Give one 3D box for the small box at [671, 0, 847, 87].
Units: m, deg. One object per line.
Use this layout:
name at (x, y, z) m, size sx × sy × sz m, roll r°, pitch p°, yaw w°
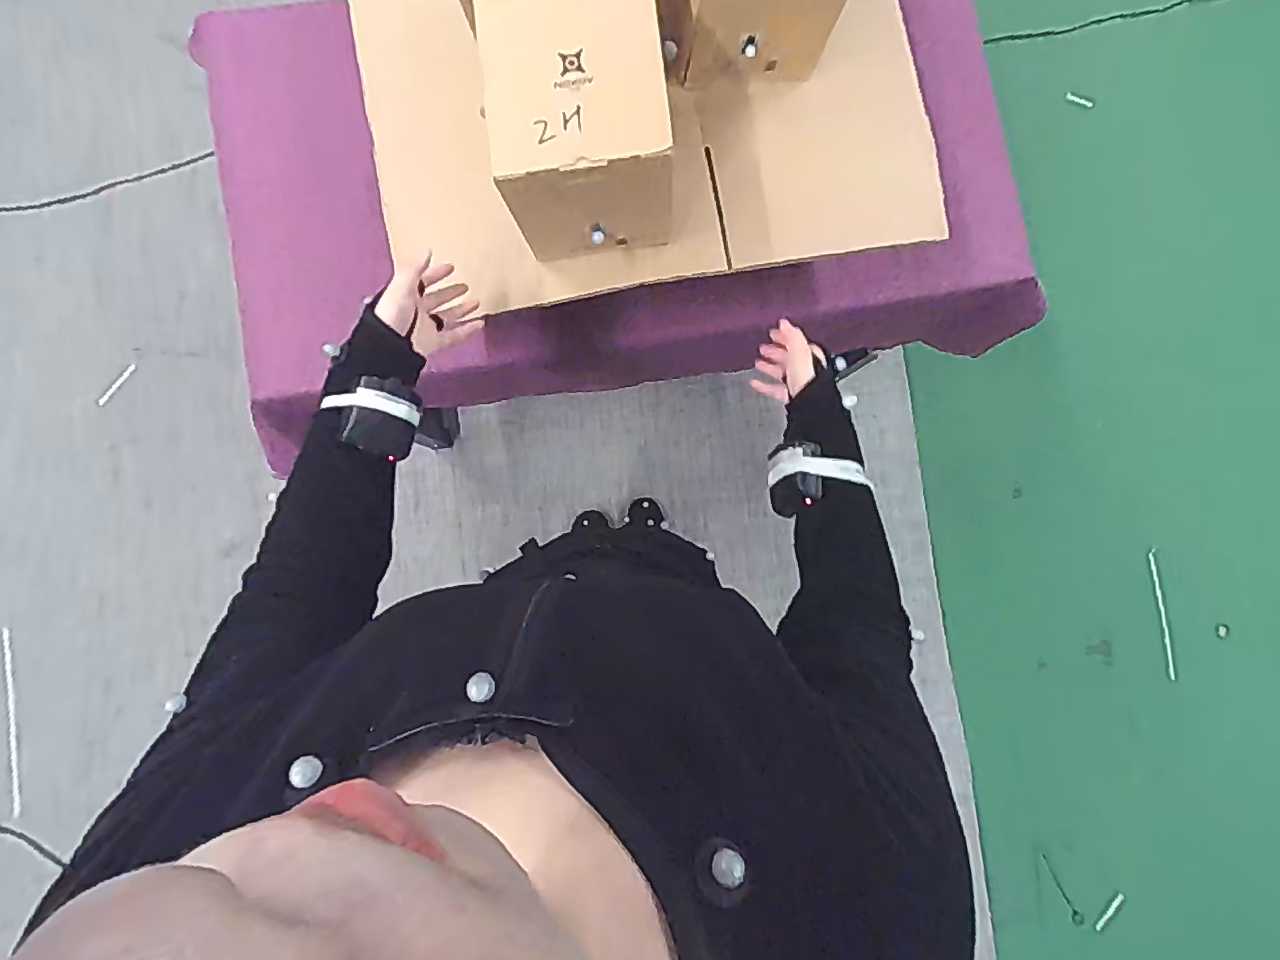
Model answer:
small box at (0.127, -0.584, 0.598) m, size 0.168 × 0.176 × 0.179 m, roll -8°, pitch 87°, yaw -6°
